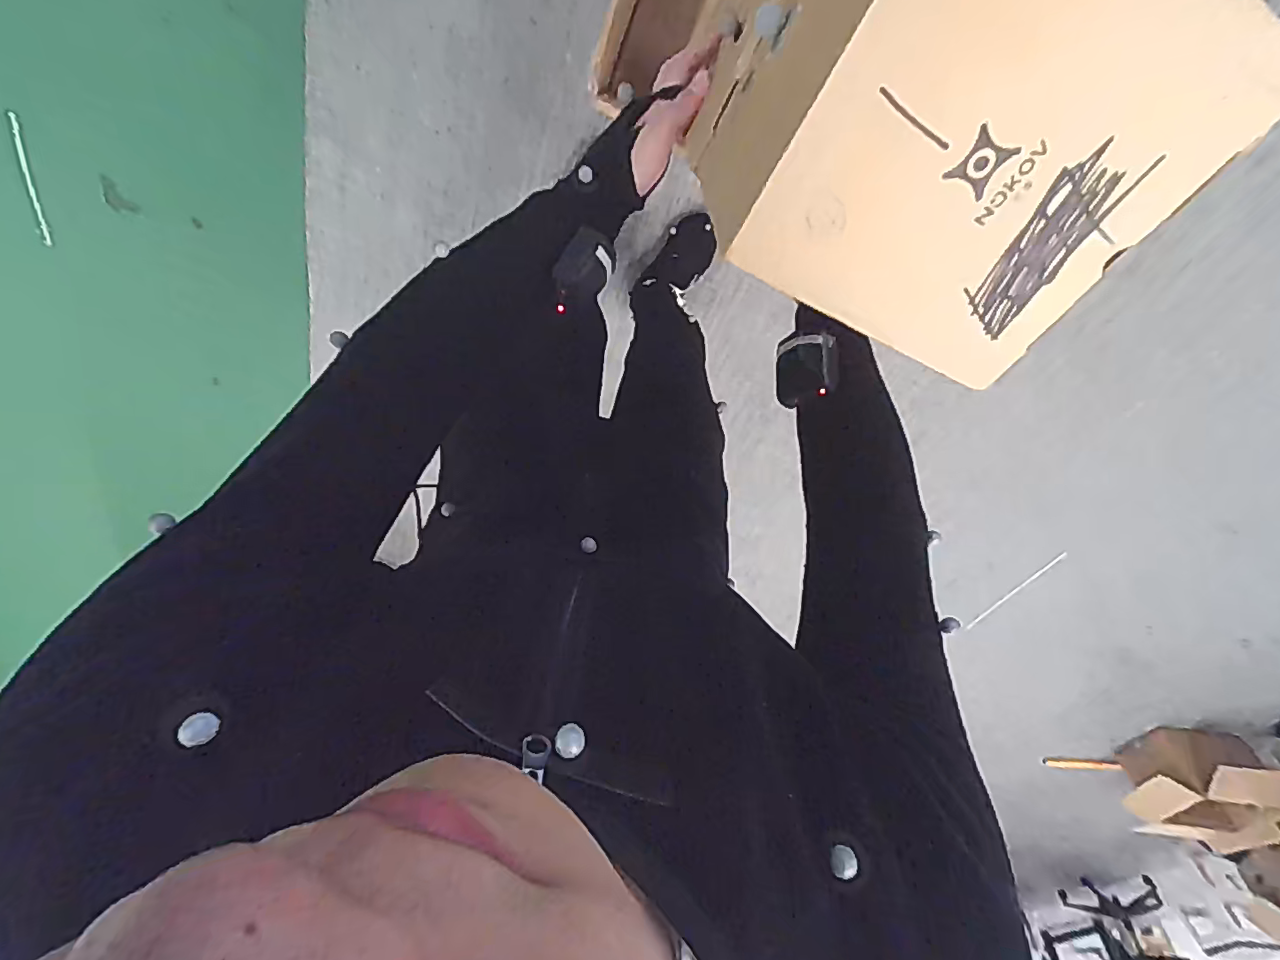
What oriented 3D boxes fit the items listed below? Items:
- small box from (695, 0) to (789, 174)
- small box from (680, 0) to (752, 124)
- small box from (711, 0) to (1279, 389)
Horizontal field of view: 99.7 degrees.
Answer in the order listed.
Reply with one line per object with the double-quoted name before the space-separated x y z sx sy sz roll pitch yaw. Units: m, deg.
"small box" 0.154 -0.296 0.417 0.179 0.176 0.168 21 130 -17
"small box" 0.153 -0.407 0.537 0.179 0.176 0.168 23 129 -20
"small box" 0.156 -0.186 0.294 0.179 0.176 0.168 20 130 -17
